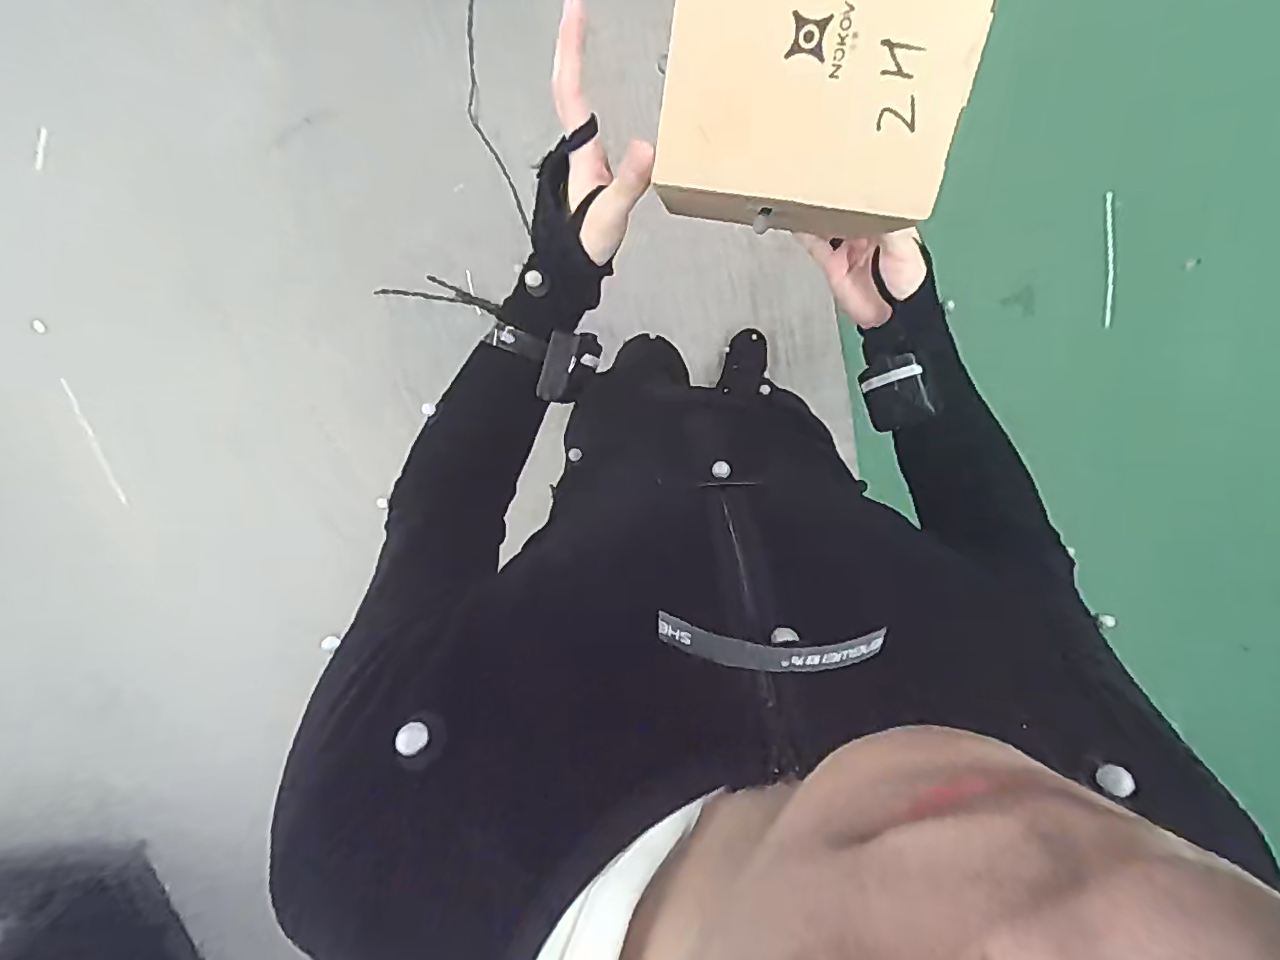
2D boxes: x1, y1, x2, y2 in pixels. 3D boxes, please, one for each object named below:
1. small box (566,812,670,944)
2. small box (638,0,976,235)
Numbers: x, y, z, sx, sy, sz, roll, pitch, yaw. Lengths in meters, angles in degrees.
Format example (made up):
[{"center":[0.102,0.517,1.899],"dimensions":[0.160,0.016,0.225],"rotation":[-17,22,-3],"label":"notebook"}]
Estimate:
[{"center":[-0.037,0.842,1.156],"dimensions":[0.179,0.176,0.168],"rotation":[-9,106,14],"label":"small box"},{"center":[0.105,-0.277,0.384],"dimensions":[0.179,0.176,0.168],"rotation":[10,112,4],"label":"small box"}]
